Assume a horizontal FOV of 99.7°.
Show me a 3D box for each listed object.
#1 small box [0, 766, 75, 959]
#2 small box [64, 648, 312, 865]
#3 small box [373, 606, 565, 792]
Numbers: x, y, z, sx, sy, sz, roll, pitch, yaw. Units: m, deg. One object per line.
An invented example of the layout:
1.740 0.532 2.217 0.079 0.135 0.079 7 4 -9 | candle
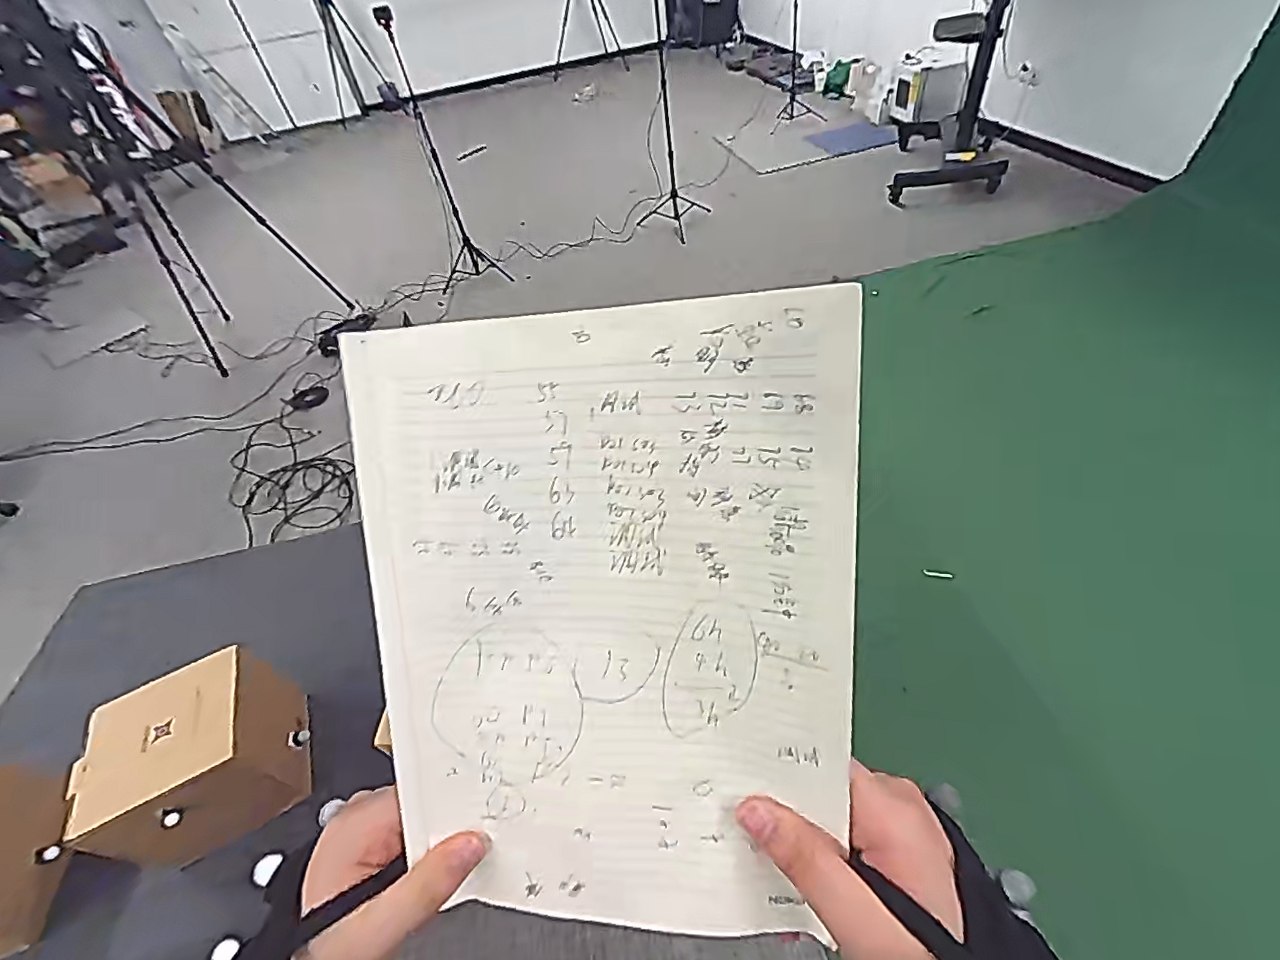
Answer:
-0.842 0.478 0.647 0.168 0.176 0.179 -18 46 -7 | small box
-0.568 0.363 0.707 0.179 0.176 0.168 -25 48 -15 | small box
-0.203 0.284 0.706 0.168 0.176 0.179 -4 46 9 | small box
